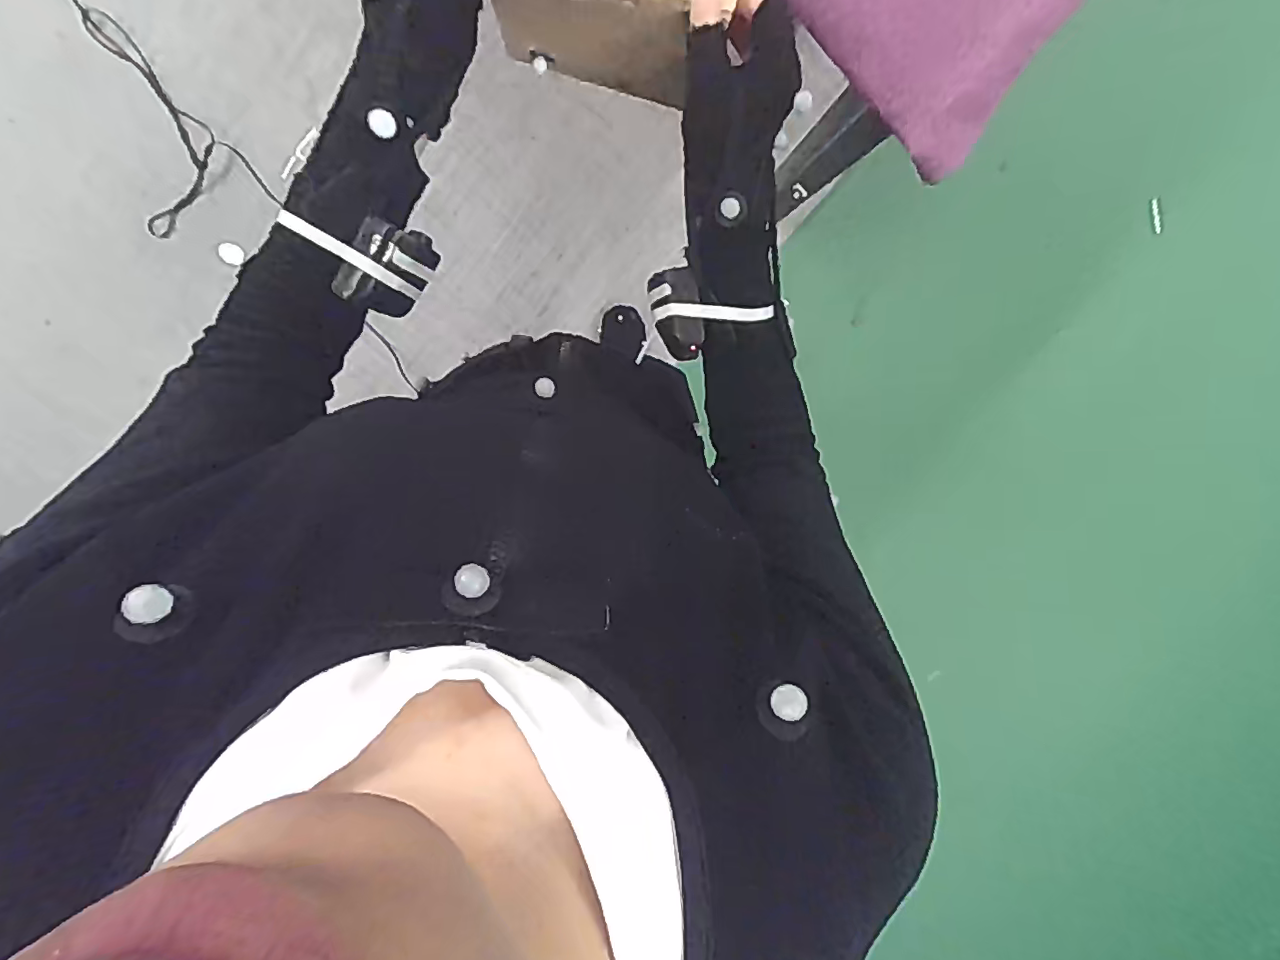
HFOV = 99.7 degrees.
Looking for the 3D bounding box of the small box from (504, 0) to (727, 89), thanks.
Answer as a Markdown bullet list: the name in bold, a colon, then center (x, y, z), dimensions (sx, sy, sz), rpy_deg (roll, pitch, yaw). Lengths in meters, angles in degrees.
- **small box**: center (-0.009, -0.418, 0.380), dimensions (0.168, 0.176, 0.179), rpy_deg (11, 106, -8)
